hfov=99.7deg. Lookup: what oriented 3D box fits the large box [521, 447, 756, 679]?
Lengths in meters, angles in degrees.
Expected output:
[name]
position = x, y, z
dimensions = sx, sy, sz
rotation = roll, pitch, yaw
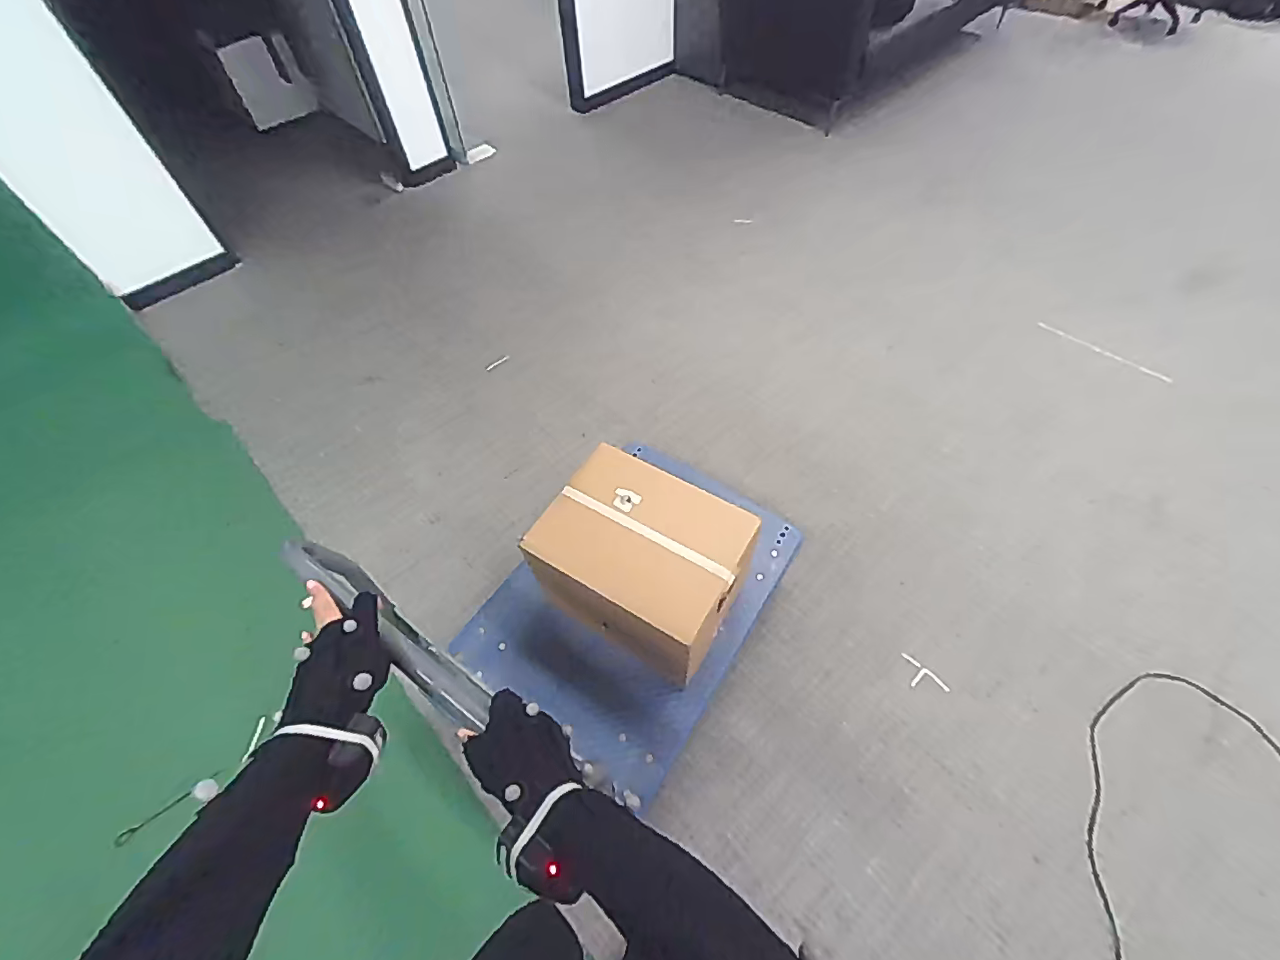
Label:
[large box]
position = 0.008, 0.193, 1.245
dimensions = 0.408, 0.320, 0.320
rotation = 26, 60, 19
